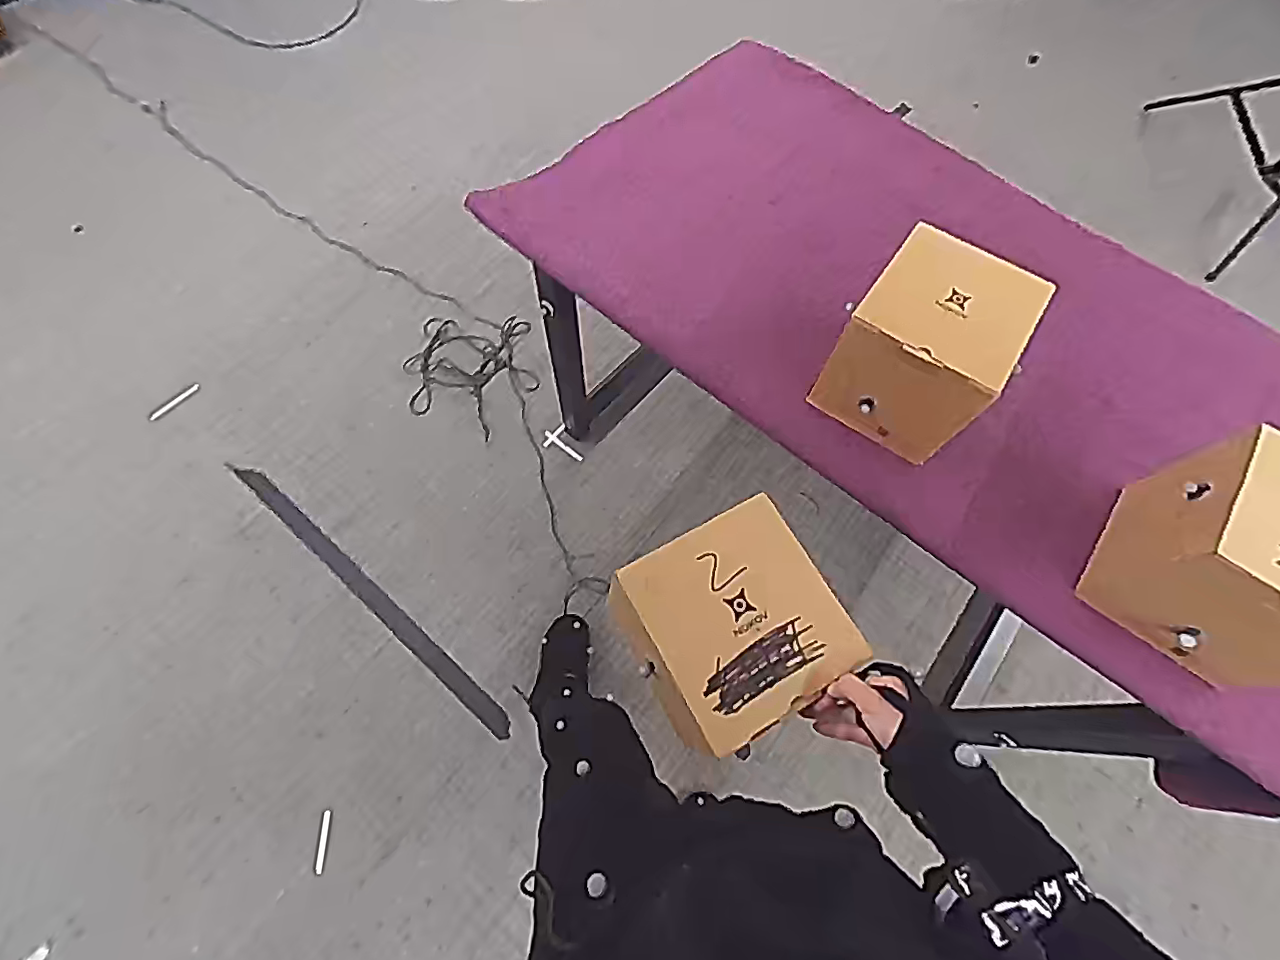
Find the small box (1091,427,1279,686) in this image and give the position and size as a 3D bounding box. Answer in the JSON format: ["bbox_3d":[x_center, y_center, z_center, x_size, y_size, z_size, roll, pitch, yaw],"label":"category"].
[{"bbox_3d":[0.622,0.086,0.553,0.168,0.176,0.179,37,70,14],"label":"small box"}]

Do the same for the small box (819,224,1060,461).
[{"bbox_3d":[0.342,-0.156,0.650,0.168,0.176,0.179,33,70,12],"label":"small box"}]
